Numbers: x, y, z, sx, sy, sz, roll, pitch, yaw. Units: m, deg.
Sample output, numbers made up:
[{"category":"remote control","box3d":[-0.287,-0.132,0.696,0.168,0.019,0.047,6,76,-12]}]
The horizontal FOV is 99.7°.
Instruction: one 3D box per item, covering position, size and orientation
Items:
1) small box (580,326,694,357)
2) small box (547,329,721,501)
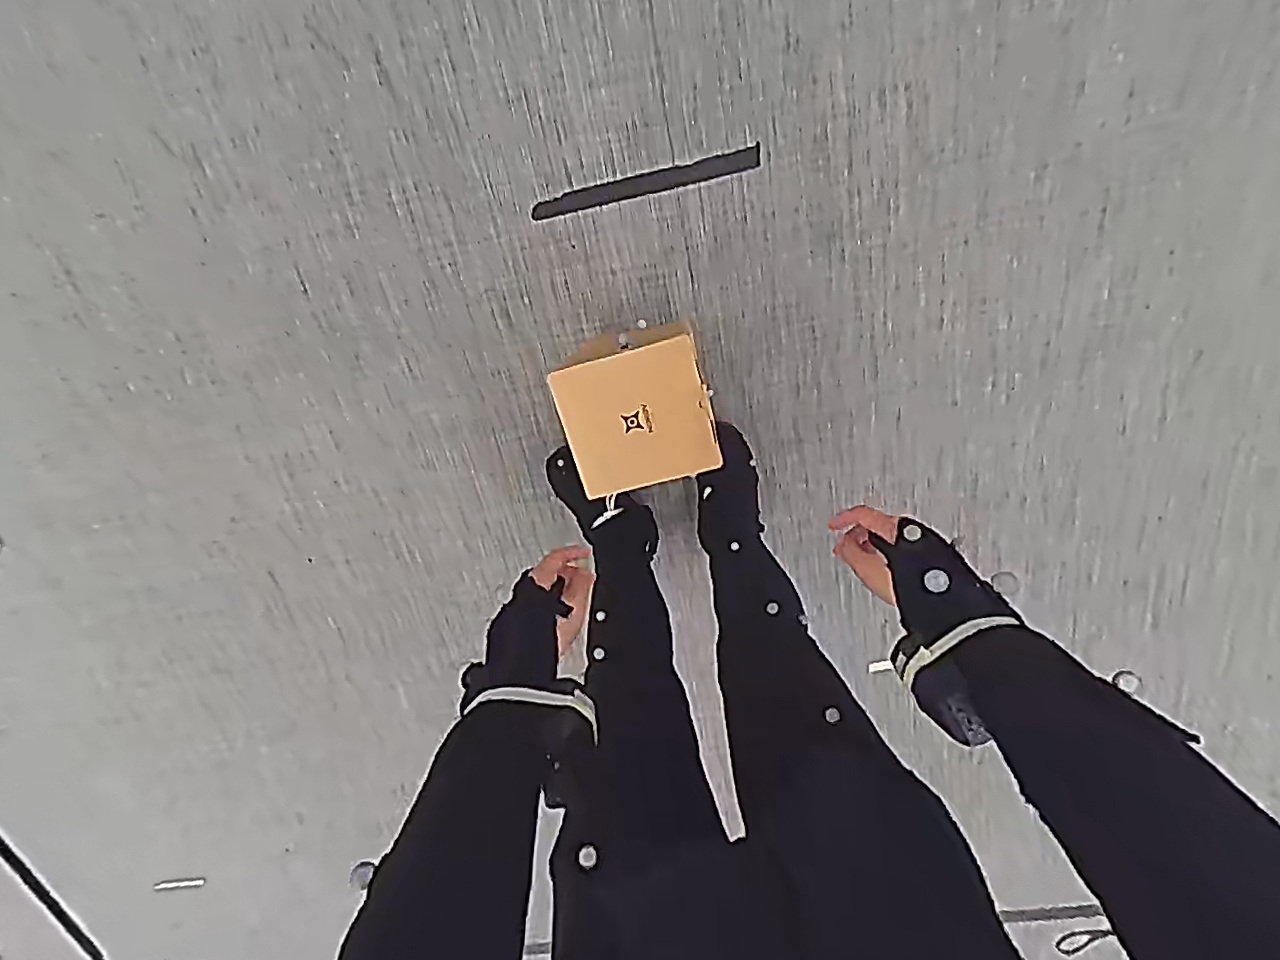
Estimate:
[{"category":"small box","box3d":[0.010,-0.142,0.869,0.168,0.176,0.179,-8,109,5]},{"category":"small box","box3d":[0.000,-0.093,0.714,0.179,0.176,0.168,-15,109,7]}]
